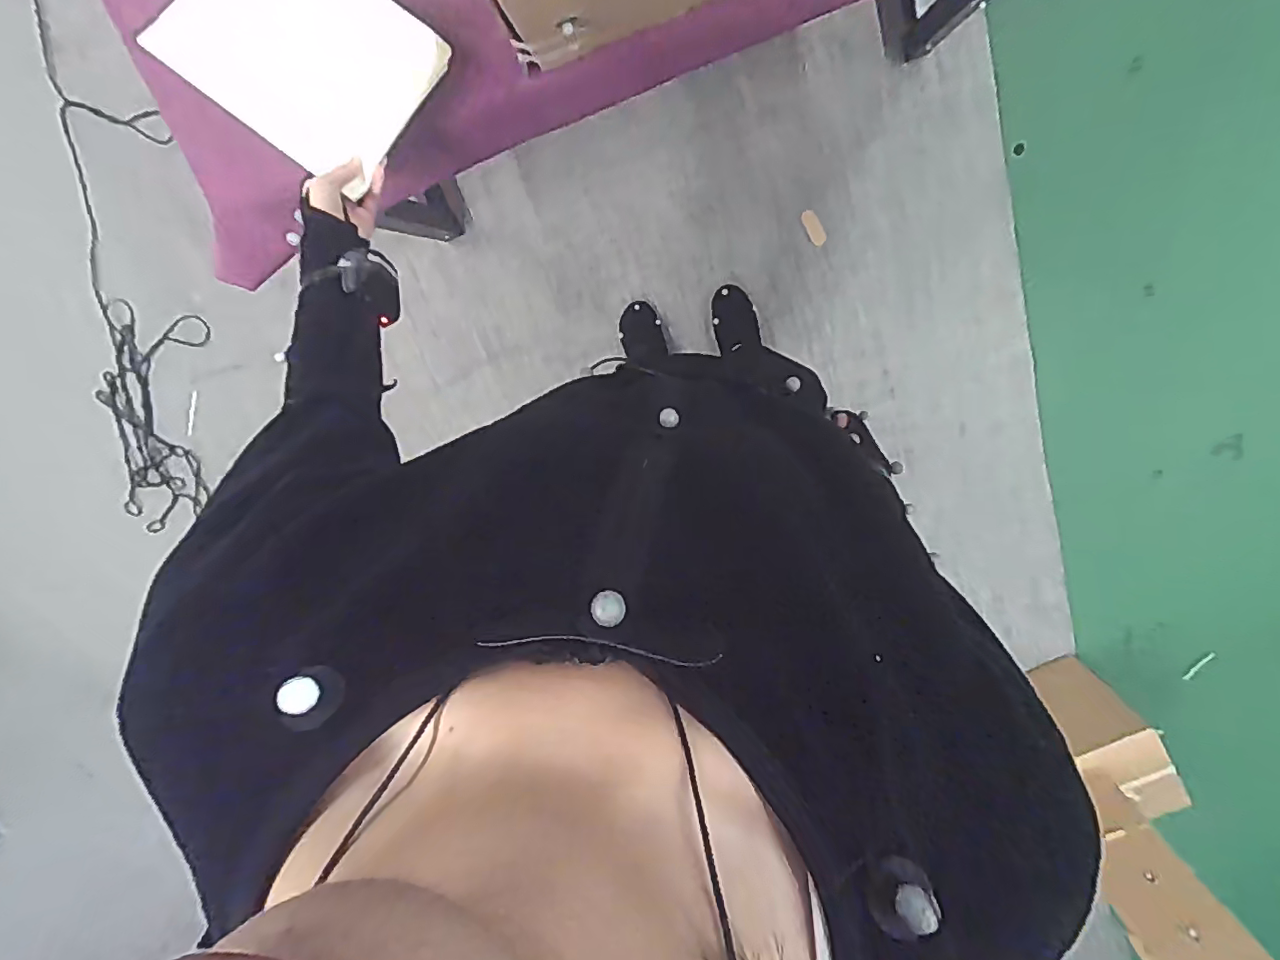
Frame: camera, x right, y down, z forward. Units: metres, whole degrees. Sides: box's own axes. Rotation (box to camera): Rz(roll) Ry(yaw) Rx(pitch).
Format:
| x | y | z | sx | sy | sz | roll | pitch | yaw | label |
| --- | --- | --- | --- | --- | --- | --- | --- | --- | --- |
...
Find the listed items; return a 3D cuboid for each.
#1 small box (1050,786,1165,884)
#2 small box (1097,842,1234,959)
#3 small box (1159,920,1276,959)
| x | y | z | sx | sy | sz | roll | pitch | yaw | label |
| --- | --- | --- | --- | --- | --- | --- | --- | --- | --- |
| 1.192 | 0.910 | 1.364 | 0.168 | 0.176 | 0.179 | -32 | 104 | 13 | small box |
| 1.182 | 0.966 | 1.211 | 0.179 | 0.176 | 0.168 | -33 | 103 | 13 | small box |
| 1.177 | 1.018 | 1.055 | 0.179 | 0.176 | 0.168 | -32 | 104 | 14 | small box |
